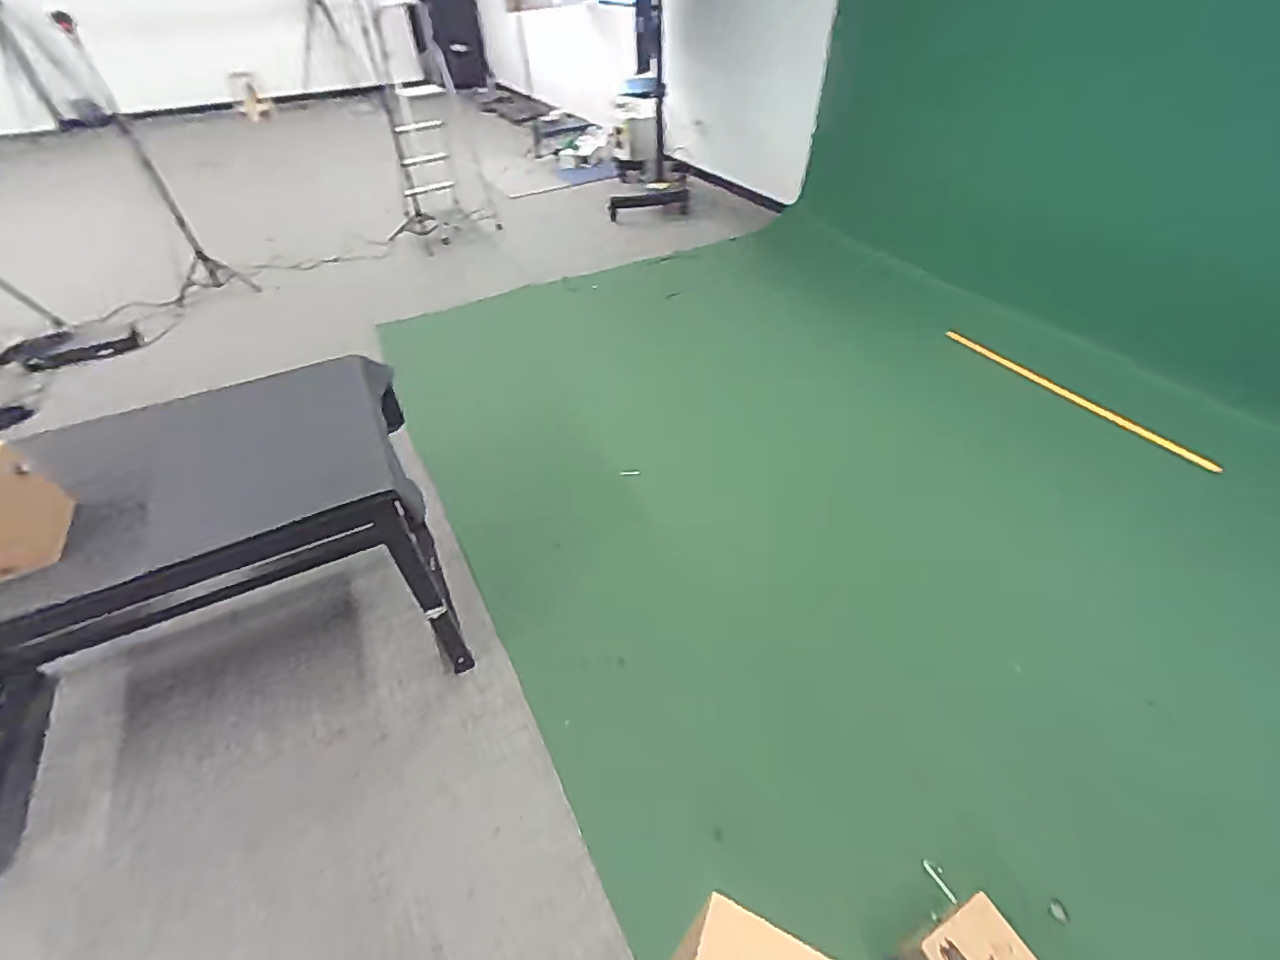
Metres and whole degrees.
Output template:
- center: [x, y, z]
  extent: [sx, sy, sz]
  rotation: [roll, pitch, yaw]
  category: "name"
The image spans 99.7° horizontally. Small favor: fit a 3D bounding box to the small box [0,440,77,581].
- center: [-1.143, 0.064, 0.936]
  extent: [0.168, 0.176, 0.179]
  rotation: [-22, 47, -19]
  category: "small box"
